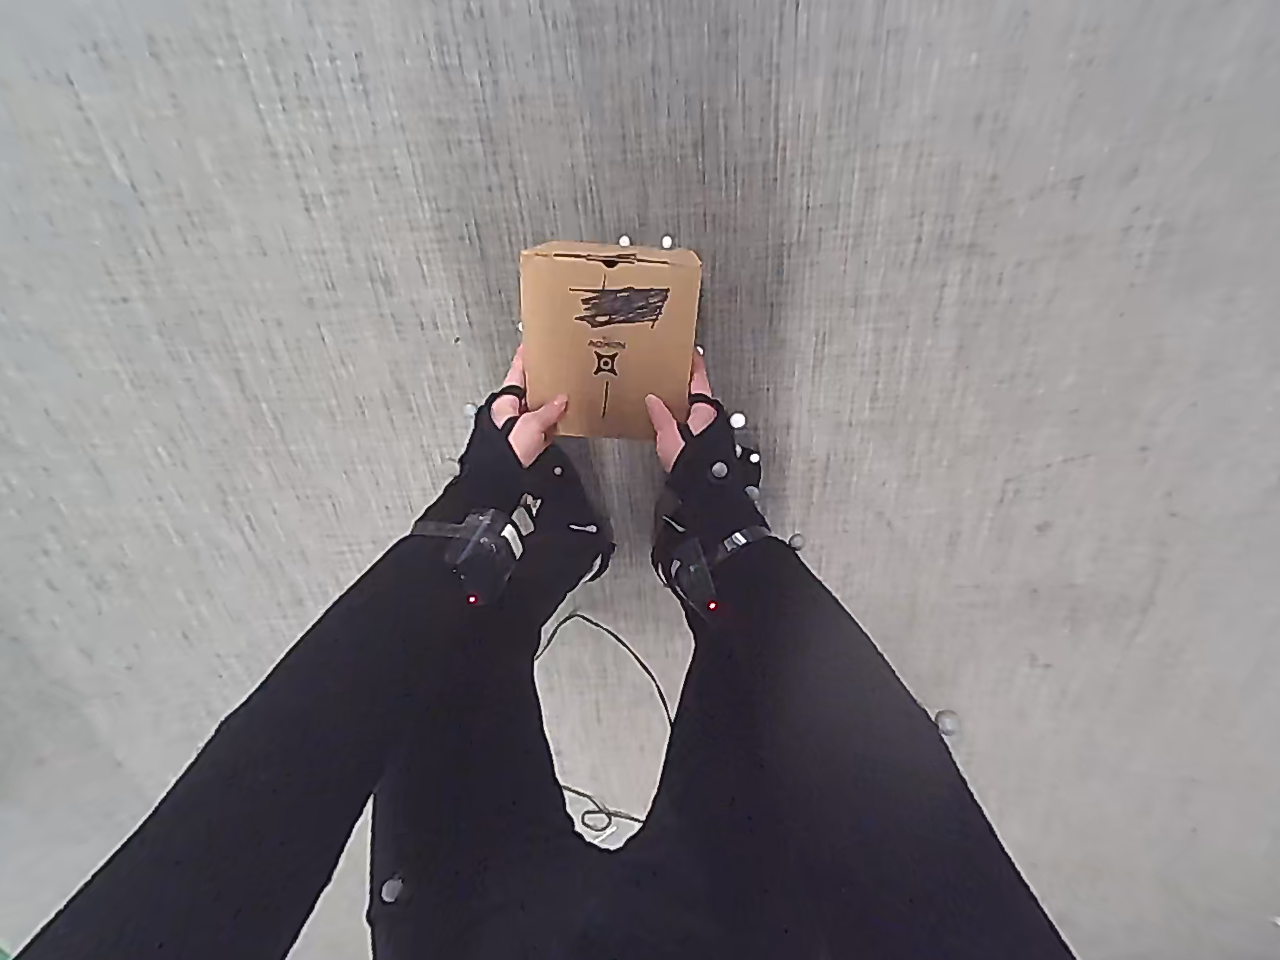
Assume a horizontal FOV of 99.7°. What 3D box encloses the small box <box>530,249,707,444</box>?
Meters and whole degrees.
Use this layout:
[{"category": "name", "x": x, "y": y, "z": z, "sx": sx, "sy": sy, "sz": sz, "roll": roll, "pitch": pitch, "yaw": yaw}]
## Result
[{"category": "small box", "x": -0.023, "y": -0.155, "z": 0.598, "sx": 0.168, "sy": 0.176, "sz": 0.179, "roll": 4, "pitch": 116, "yaw": 1}]
